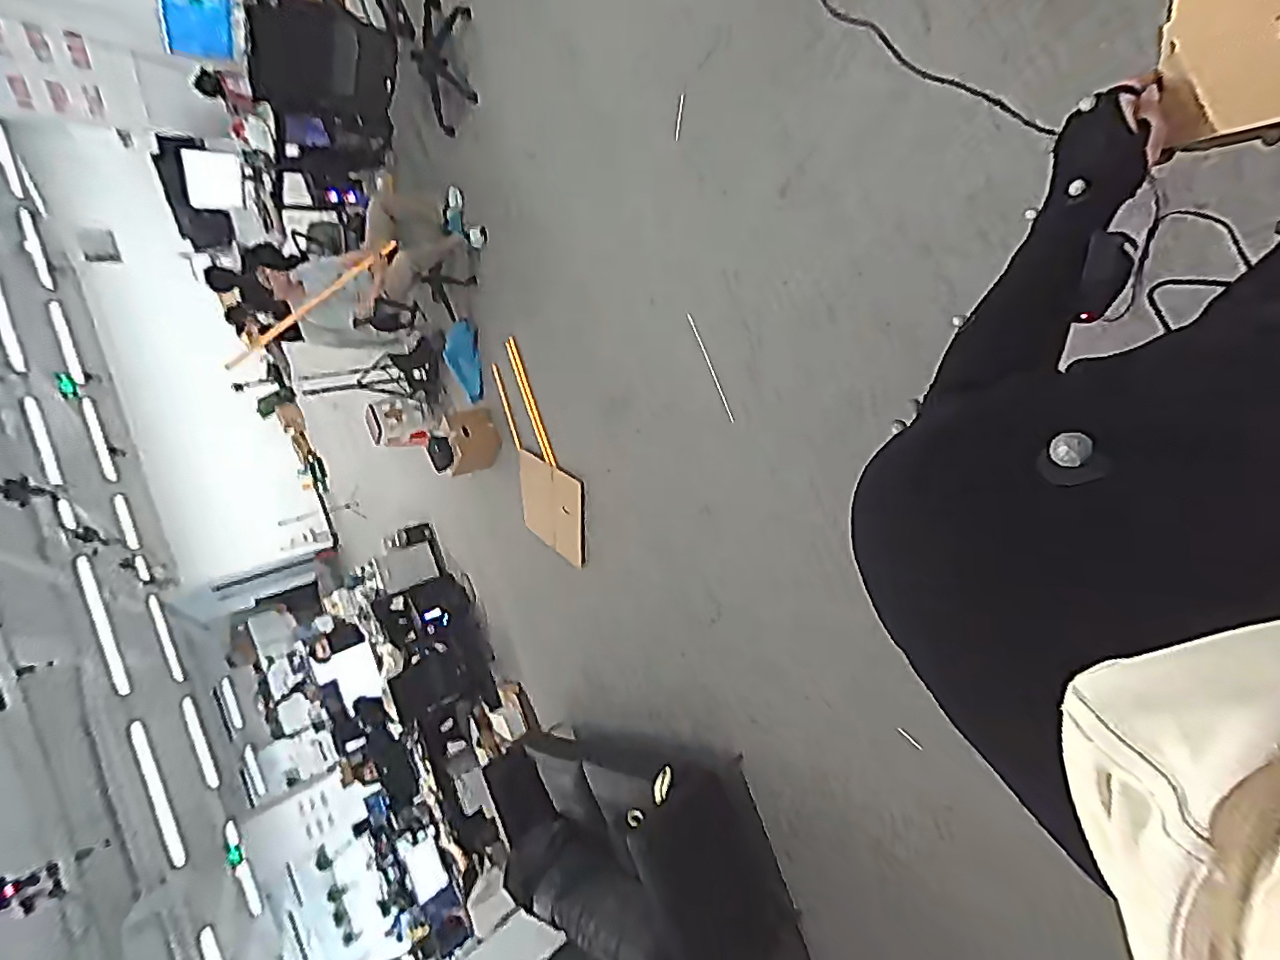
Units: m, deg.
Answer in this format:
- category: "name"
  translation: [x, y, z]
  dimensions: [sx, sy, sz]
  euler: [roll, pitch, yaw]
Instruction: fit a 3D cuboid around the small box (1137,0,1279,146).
- category: "small box"
  translation: [0.586, -0.408, 0.473]
  dimensions: [0.179, 0.176, 0.168]
  euler: [16, 121, 54]
